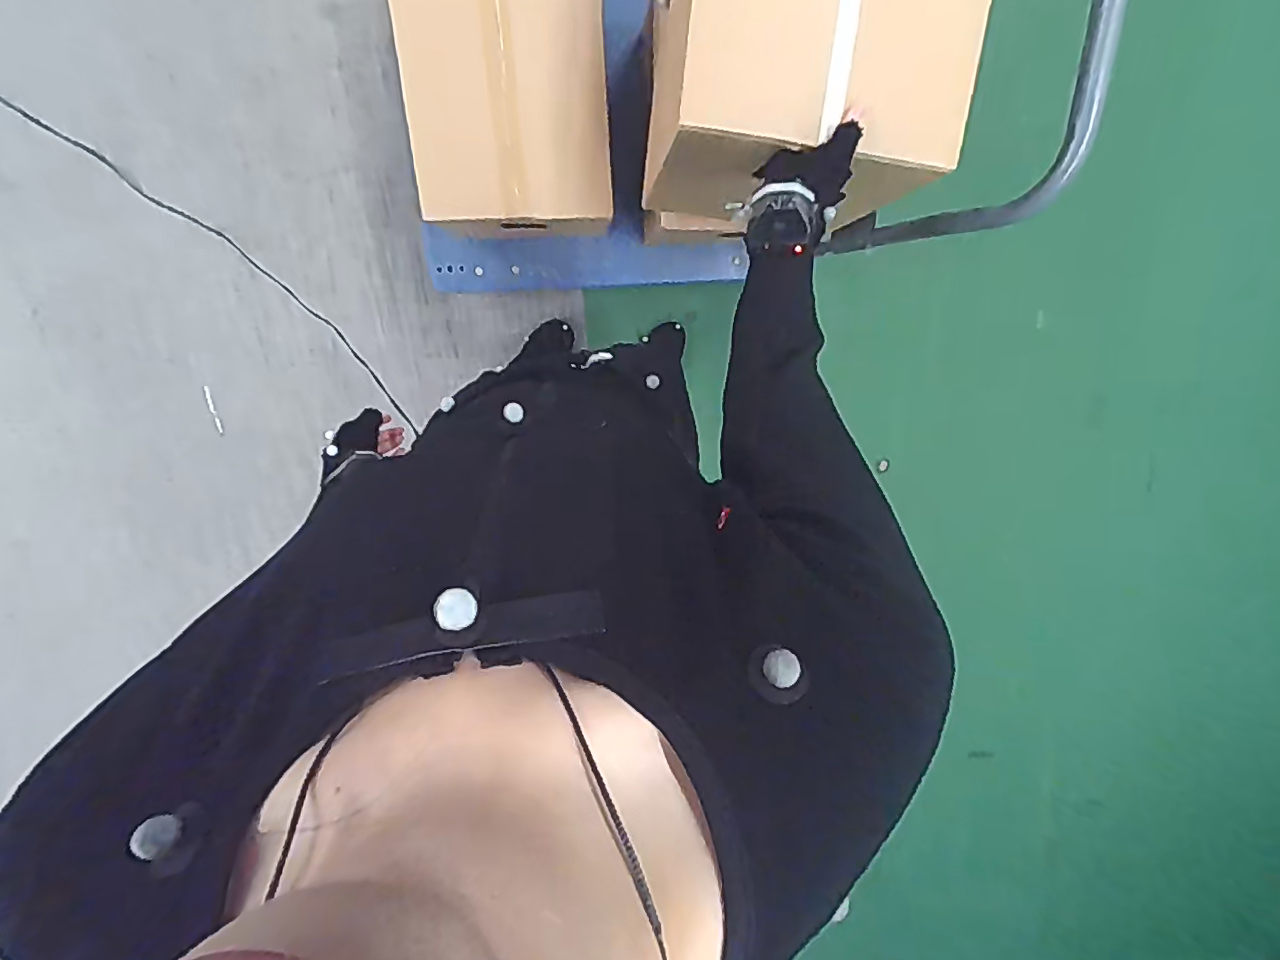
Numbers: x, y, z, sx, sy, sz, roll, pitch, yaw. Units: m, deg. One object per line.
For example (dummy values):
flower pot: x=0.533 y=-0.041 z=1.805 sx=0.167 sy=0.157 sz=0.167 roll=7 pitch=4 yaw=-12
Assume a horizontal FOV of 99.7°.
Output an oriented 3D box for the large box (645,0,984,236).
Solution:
large box: x=0.187 y=-0.563 z=0.669 sx=0.320 sy=0.320 sz=0.408 roll=5 pitch=100 yaw=-8
